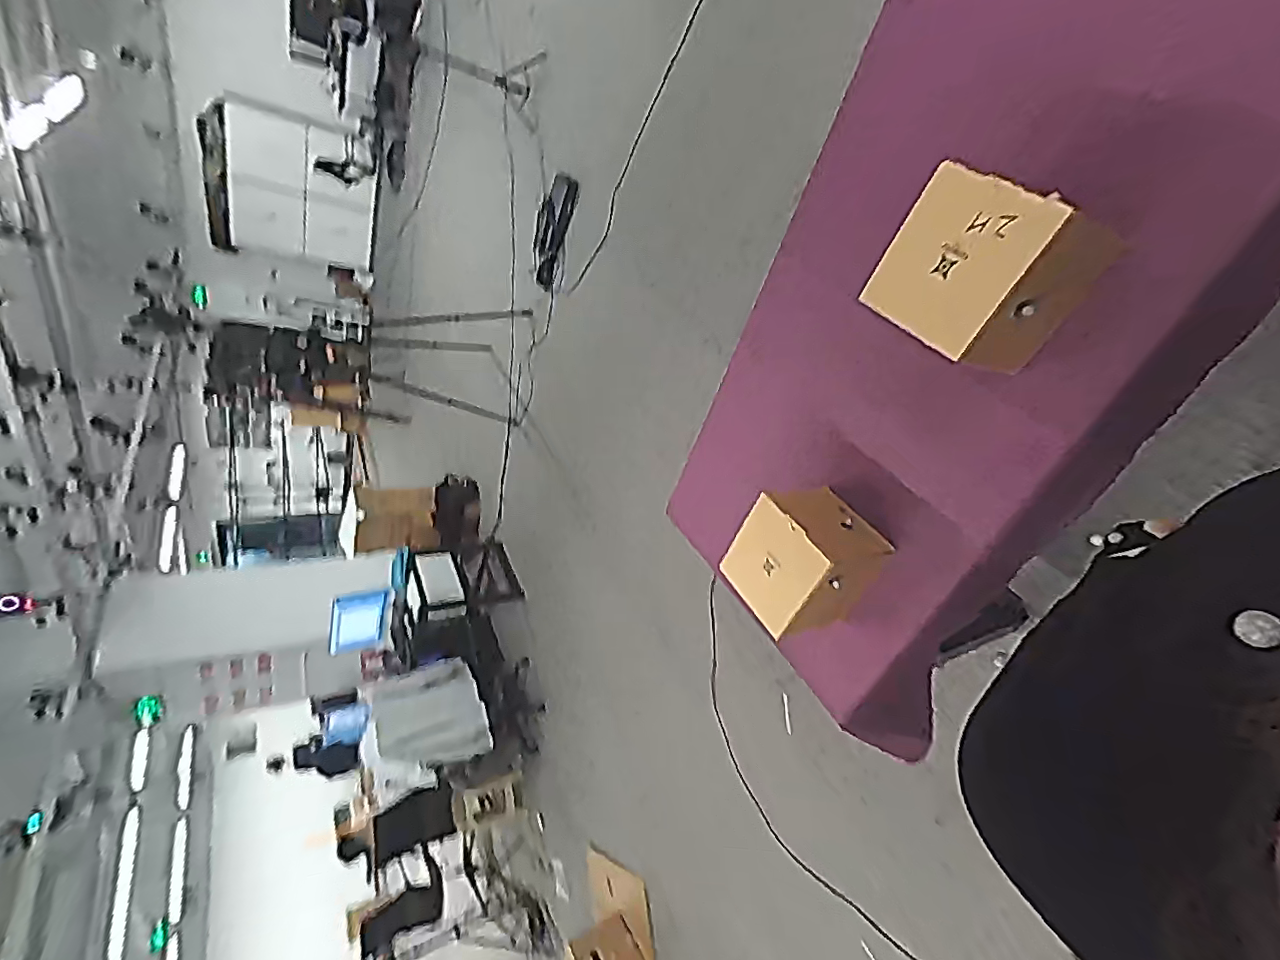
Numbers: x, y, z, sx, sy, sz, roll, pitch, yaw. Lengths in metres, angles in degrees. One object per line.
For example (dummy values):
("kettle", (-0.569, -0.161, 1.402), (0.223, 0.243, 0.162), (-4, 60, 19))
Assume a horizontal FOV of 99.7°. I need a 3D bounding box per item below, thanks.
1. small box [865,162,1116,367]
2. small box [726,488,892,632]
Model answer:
("small box", (0.433, -0.258, 0.678), (0.168, 0.176, 0.179), (57, 135, 38))
("small box", (0.284, 0.129, 0.916), (0.168, 0.176, 0.179), (53, 132, 41))
